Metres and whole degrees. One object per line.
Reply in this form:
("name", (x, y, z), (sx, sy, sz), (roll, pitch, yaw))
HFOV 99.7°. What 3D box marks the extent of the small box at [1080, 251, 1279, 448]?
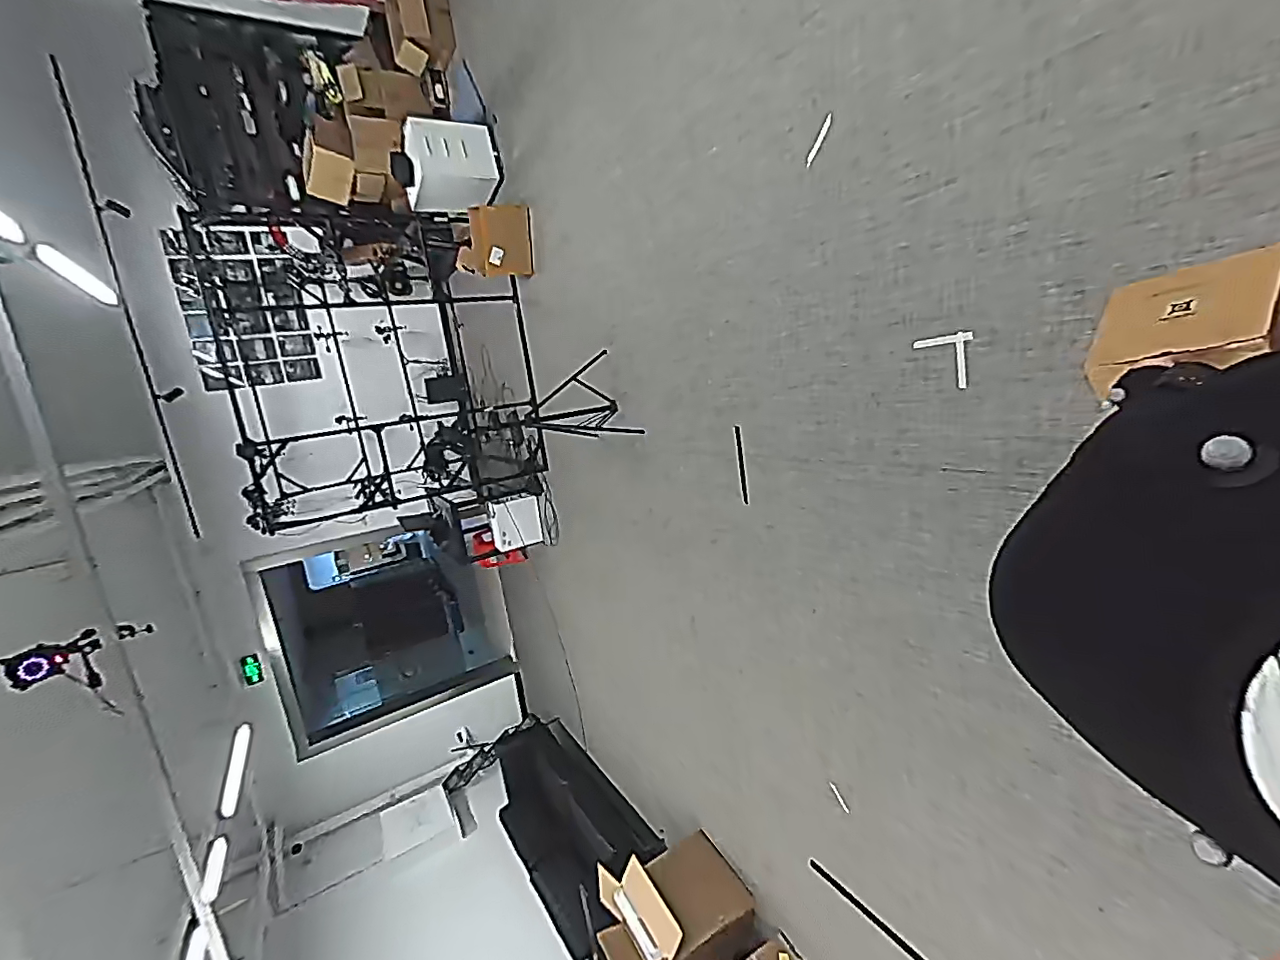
("small box", (0.730, -0.155, 0.714), (0.176, 0.179, 0.168), (47, 157, -21))
